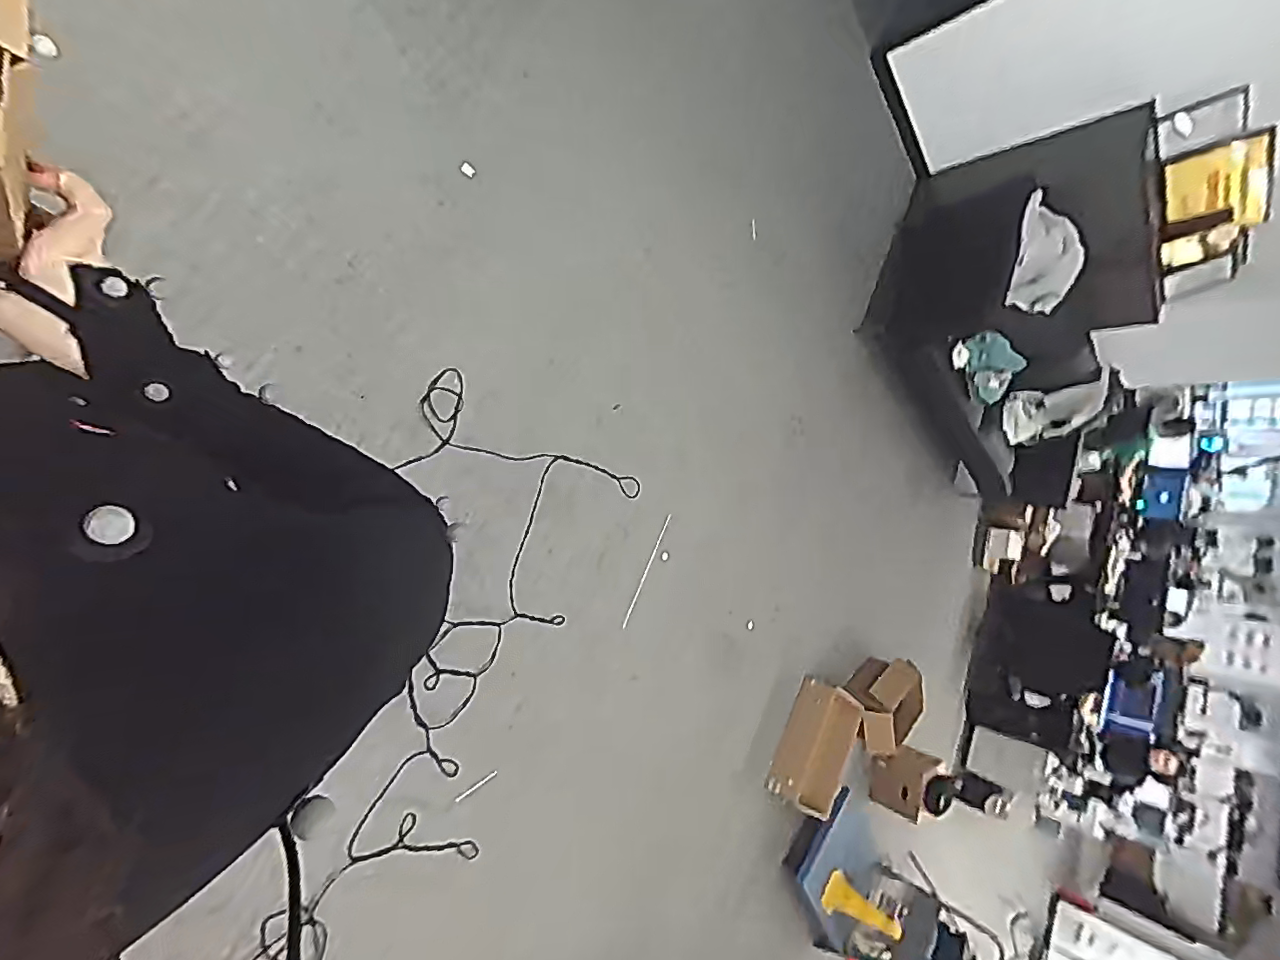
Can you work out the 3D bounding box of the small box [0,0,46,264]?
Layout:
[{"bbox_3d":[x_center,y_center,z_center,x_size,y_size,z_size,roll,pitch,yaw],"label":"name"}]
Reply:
[{"bbox_3d":[-0.413,-0.222,0.256,0.179,0.176,0.168,-2,87,-45],"label":"small box"}]
